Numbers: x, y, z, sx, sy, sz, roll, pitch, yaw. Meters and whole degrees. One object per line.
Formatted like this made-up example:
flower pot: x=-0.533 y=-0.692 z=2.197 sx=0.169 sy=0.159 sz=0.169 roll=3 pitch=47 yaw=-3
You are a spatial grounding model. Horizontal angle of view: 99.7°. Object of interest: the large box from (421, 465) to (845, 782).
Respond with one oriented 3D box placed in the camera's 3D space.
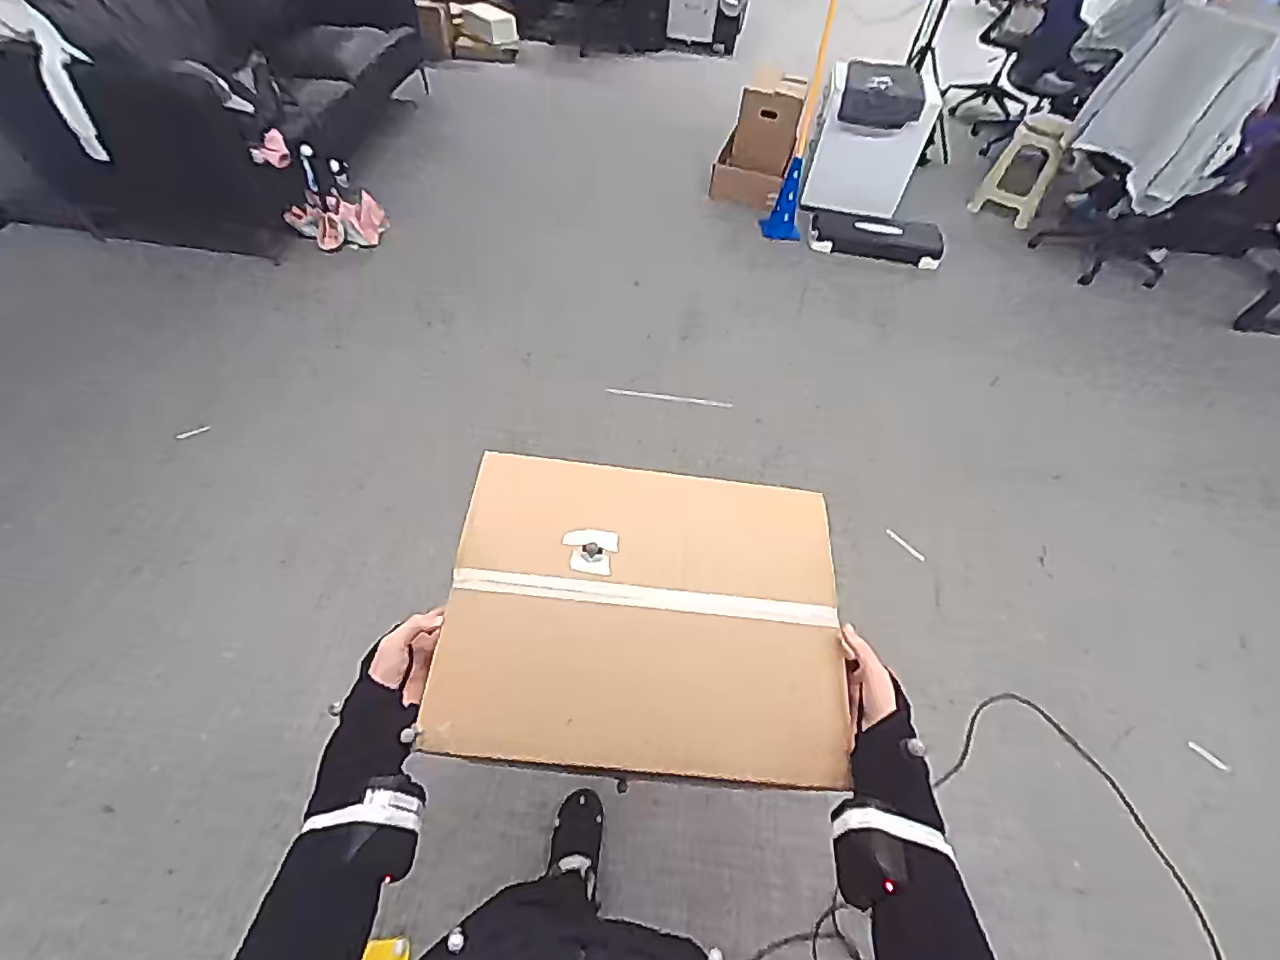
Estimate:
large box: x=-0.006 y=0.204 z=0.702 sx=0.408 sy=0.320 sz=0.320 roll=6 pitch=59 yaw=-3
